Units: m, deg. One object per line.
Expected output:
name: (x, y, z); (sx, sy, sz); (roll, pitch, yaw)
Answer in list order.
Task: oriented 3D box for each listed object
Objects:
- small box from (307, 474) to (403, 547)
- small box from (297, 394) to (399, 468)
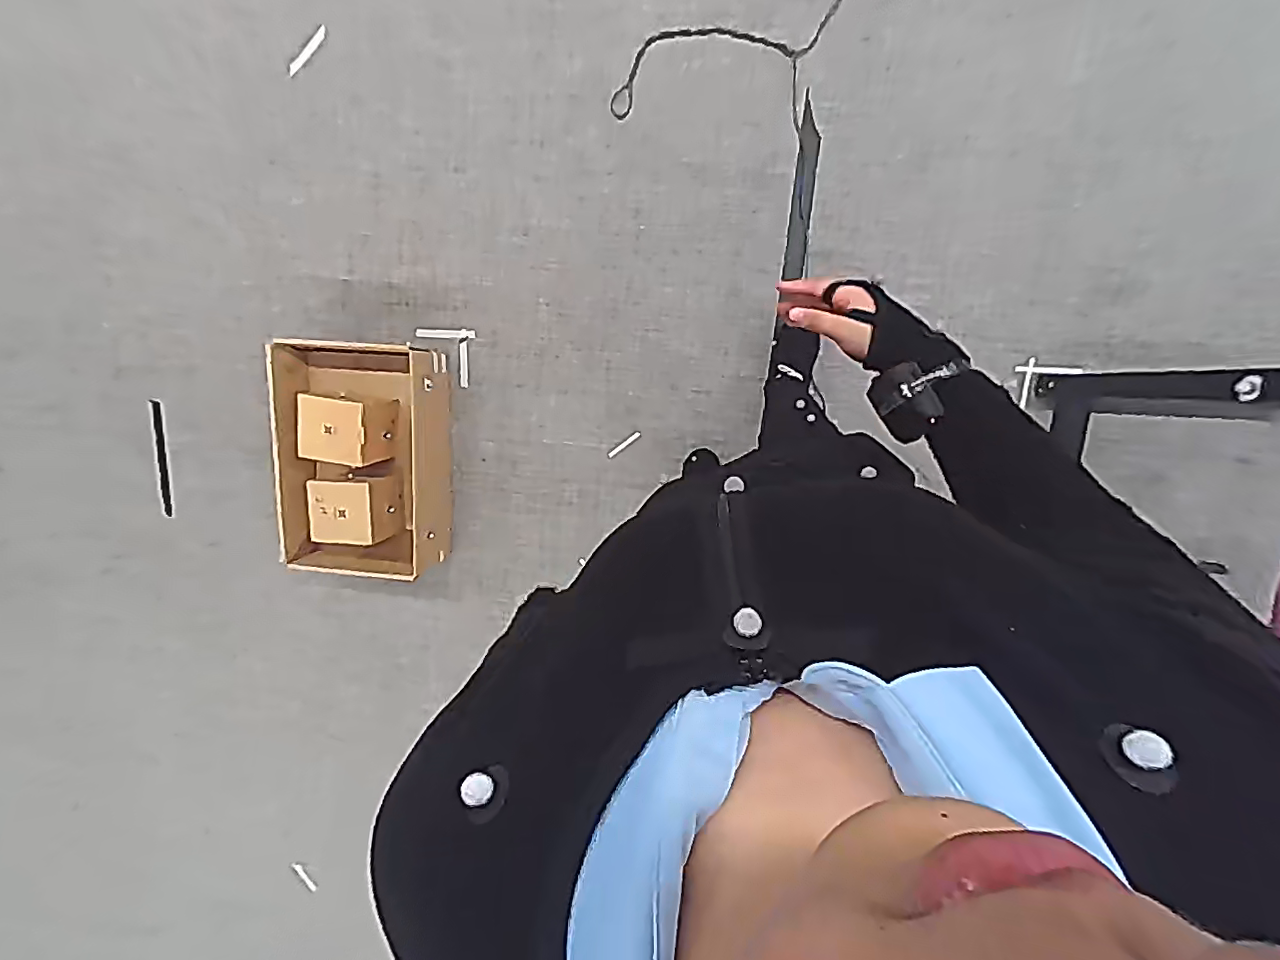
small box: (-0.771, 0.078, 1.485); (0.179, 0.176, 0.168); (3, 99, 7)
small box: (-0.778, -0.137, 1.449); (0.179, 0.176, 0.168); (10, 102, 5)
